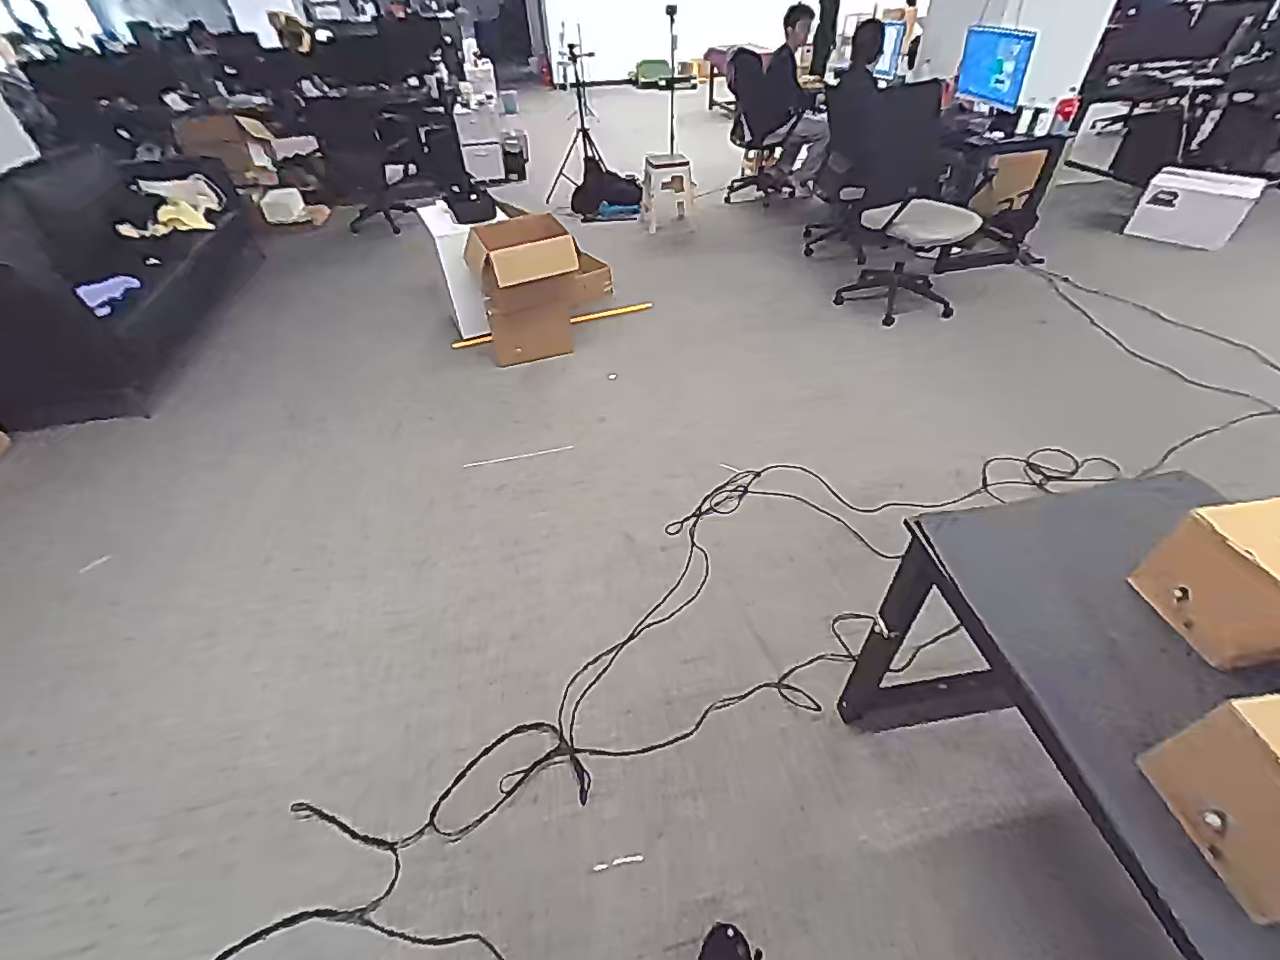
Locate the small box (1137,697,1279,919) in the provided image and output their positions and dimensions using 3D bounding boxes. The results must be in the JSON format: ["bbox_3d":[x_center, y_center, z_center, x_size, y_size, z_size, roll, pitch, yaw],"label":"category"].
[{"bbox_3d":[0.713,0.347,0.580,0.179,0.176,0.168,-5,43,-4],"label":"small box"}]

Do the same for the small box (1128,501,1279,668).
[{"bbox_3d":[0.887,0.152,0.785,0.179,0.176,0.168,-7,43,-4],"label":"small box"}]
